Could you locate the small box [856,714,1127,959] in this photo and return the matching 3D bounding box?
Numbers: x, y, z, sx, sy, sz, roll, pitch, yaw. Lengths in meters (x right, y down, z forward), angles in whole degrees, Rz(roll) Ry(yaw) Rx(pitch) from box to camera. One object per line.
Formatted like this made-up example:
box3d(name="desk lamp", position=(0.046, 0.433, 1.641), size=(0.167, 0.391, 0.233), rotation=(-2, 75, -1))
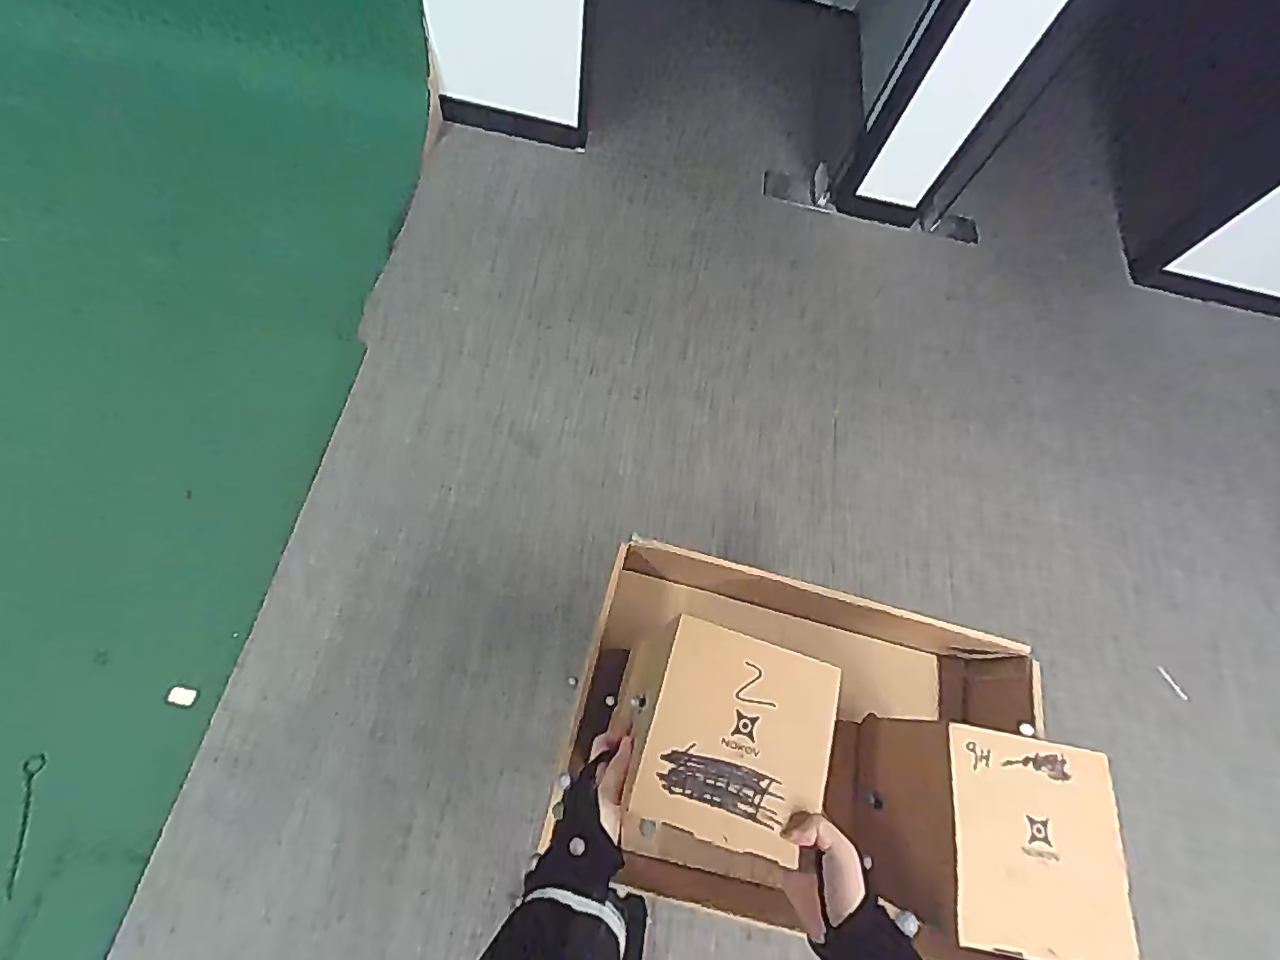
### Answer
box3d(name="small box", position=(0.344, 0.355, 0.563), size=(0.168, 0.176, 0.179), rotation=(14, 68, -4))
